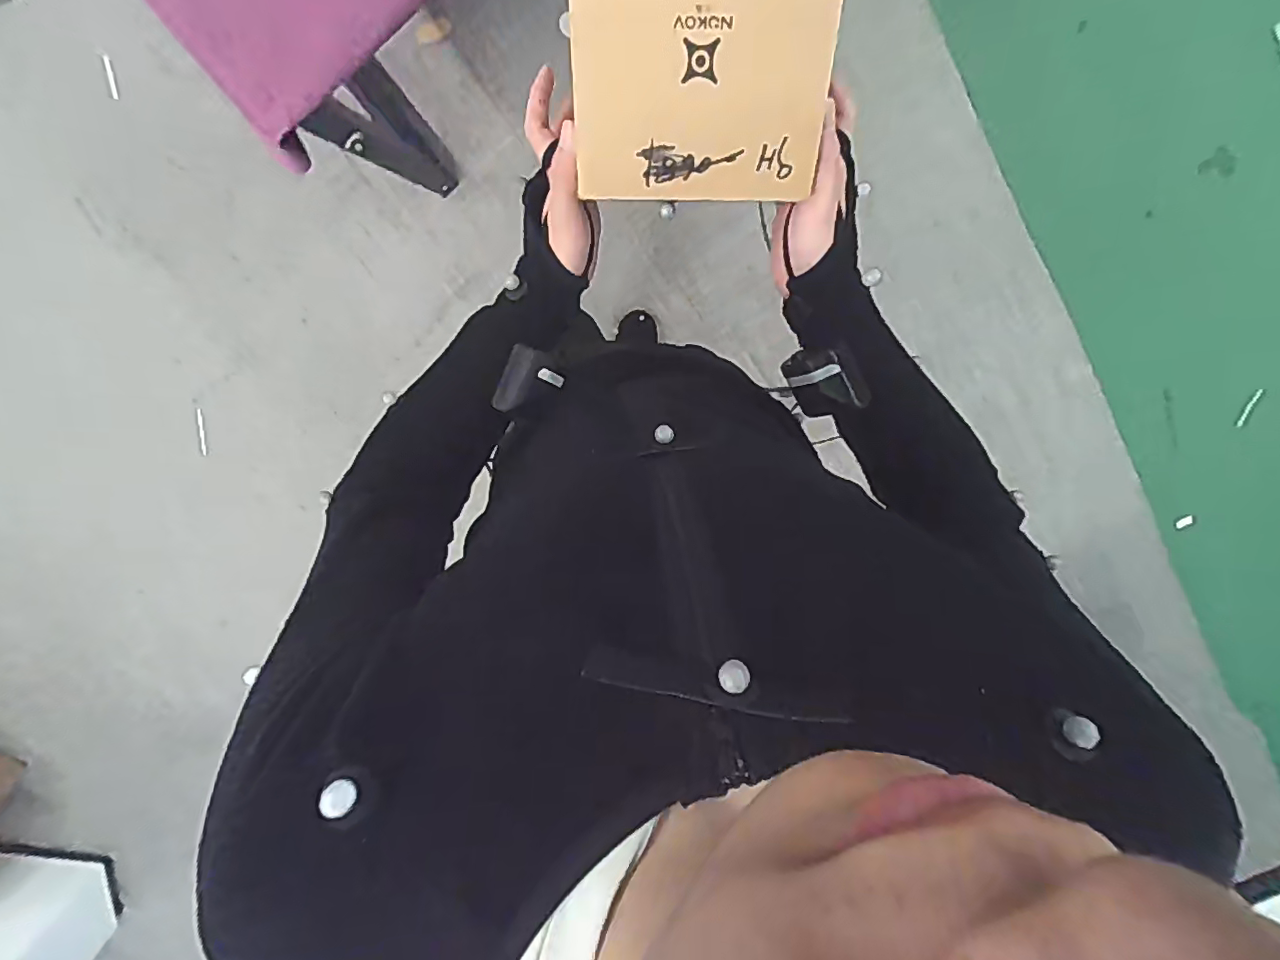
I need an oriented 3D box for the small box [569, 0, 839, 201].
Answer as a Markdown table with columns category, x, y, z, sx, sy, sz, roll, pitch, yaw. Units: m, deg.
| category | x | y | z | sx | sy | sz | roll | pitch | yaw |
| --- | --- | --- | --- | --- | --- | --- | --- | --- | --- |
| small box | 0.038 | -0.315 | 0.401 | 0.168 | 0.176 | 0.179 | 1 | 124 | 0 |
